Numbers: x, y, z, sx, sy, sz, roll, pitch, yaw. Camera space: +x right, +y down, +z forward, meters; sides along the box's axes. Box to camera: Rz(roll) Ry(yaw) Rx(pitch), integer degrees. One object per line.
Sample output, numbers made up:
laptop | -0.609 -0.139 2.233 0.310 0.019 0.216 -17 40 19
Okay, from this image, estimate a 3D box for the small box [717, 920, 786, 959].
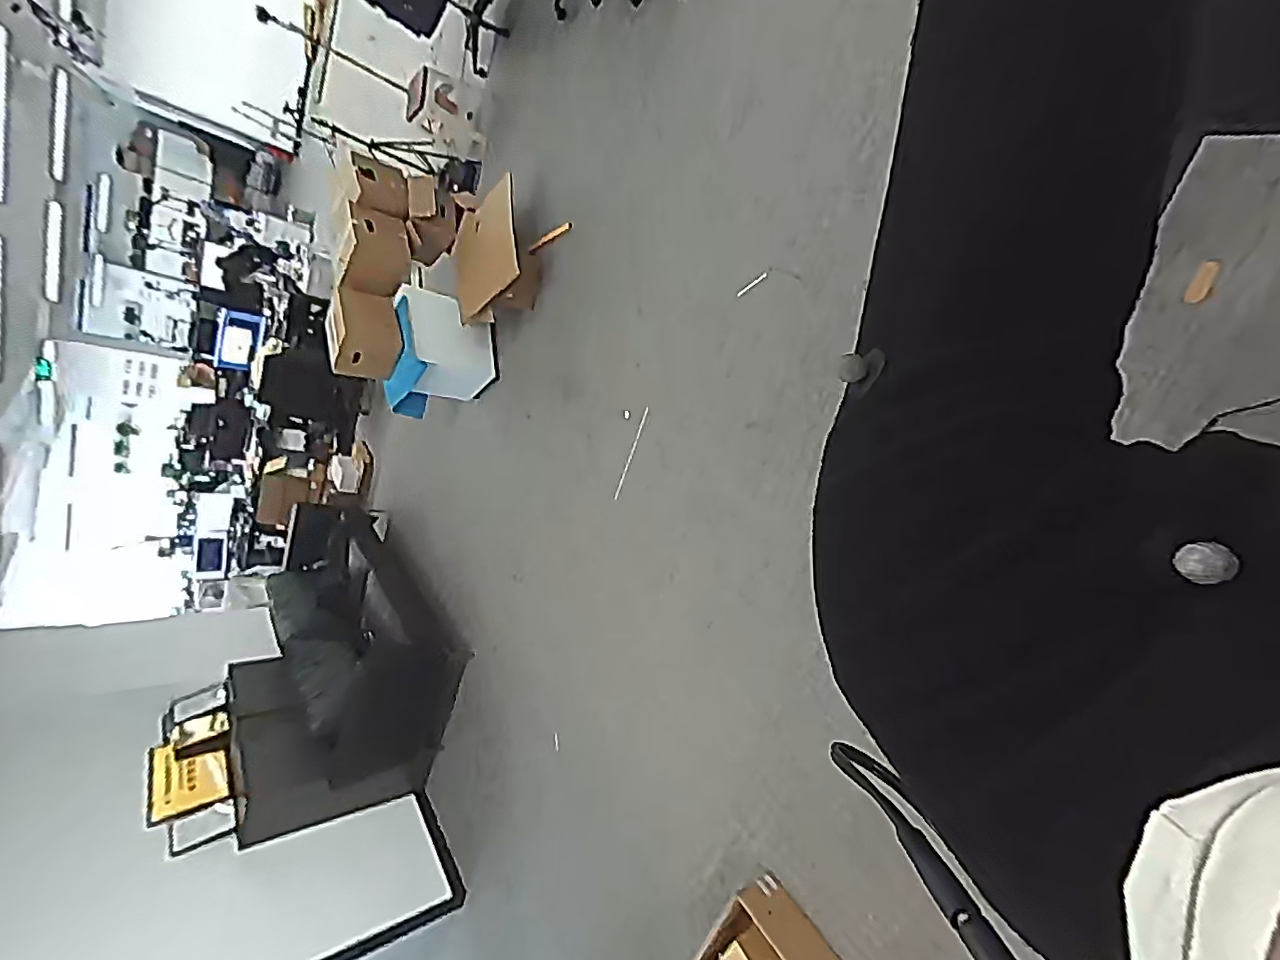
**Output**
small box | 0.357 1.572 1.731 0.168 0.176 0.179 42 116 41
